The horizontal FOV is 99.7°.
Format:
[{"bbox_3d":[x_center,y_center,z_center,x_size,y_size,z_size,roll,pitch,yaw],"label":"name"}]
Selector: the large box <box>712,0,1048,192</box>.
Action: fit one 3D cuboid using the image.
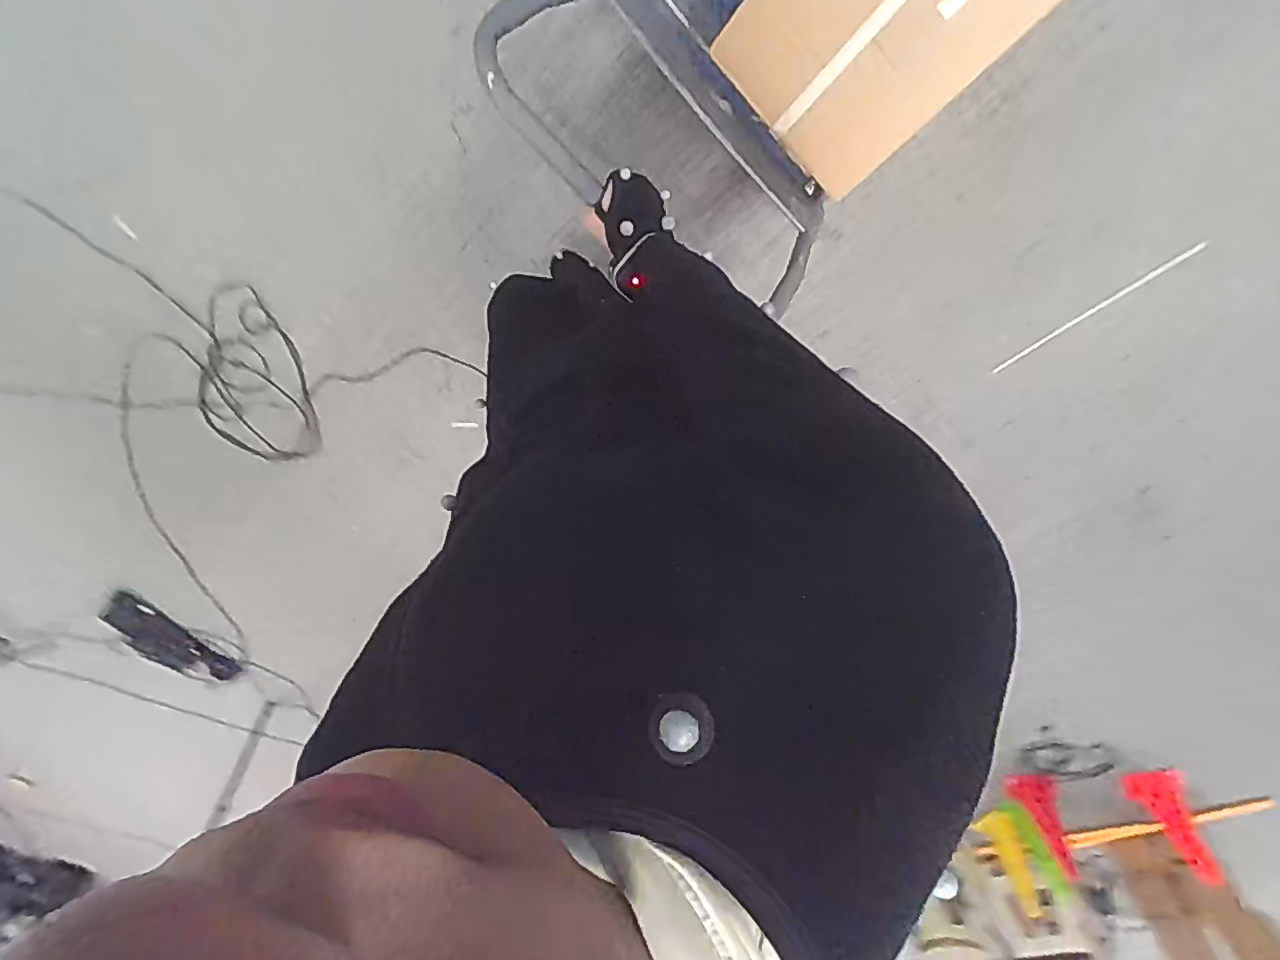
[{"bbox_3d":[0.379,-0.752,0.837,0.320,0.320,0.408,40,133,-17],"label":"large box"}]
